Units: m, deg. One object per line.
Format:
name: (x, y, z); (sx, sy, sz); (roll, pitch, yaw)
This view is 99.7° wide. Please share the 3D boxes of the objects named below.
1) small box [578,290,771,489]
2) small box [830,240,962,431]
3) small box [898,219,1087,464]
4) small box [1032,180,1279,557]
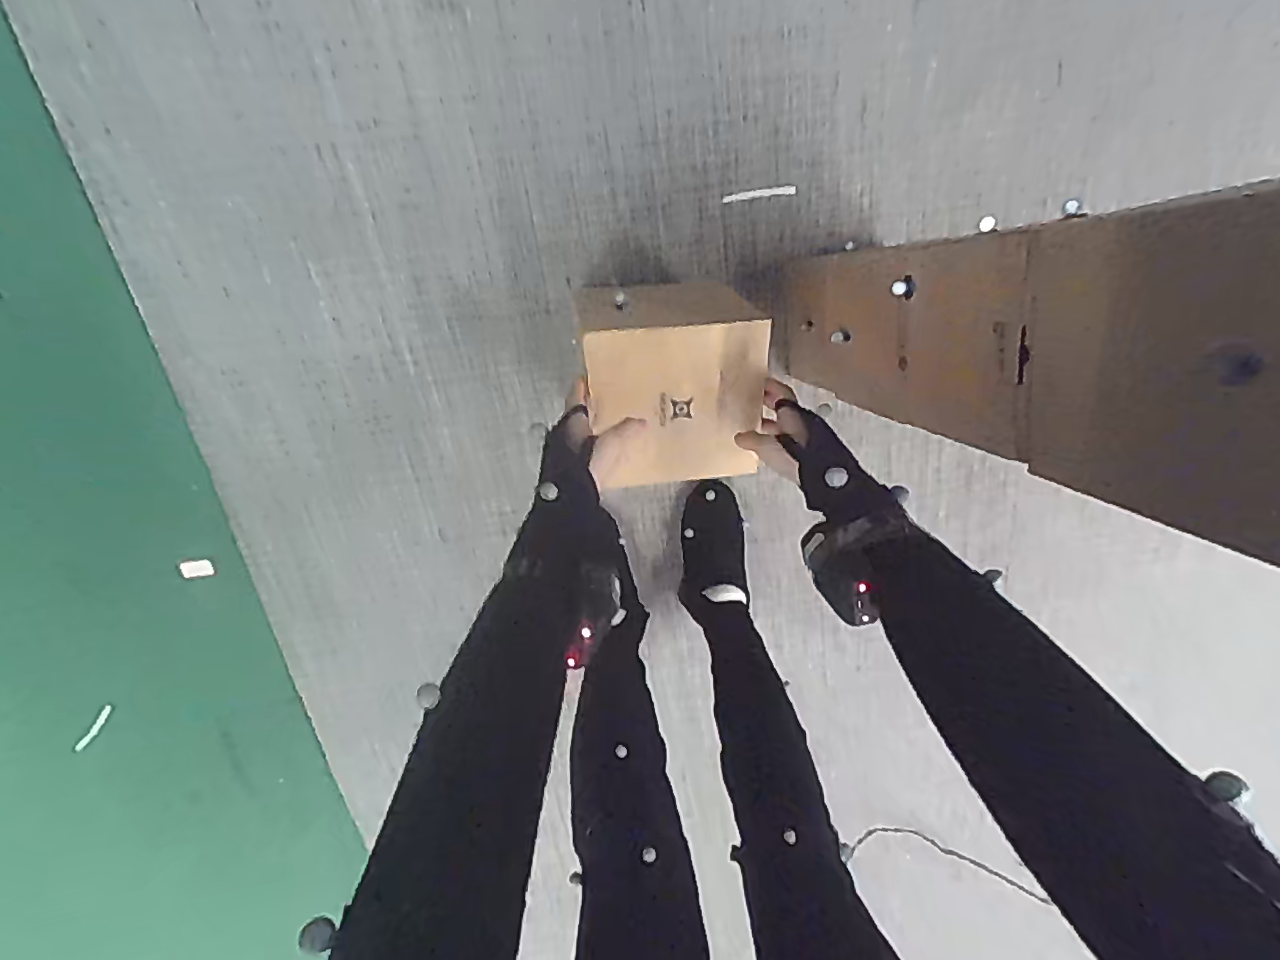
small box: (0.024, -0.106, 0.590); (0.179, 0.176, 0.168); (-4, 121, -6)
small box: (0.332, -0.172, 0.614); (0.168, 0.176, 0.179); (-12, 110, -4)
small box: (0.340, -0.125, 0.457); (0.179, 0.176, 0.168); (-11, 109, -4)
small box: (0.360, -0.074, 0.301); (0.168, 0.176, 0.179); (-12, 109, -2)
